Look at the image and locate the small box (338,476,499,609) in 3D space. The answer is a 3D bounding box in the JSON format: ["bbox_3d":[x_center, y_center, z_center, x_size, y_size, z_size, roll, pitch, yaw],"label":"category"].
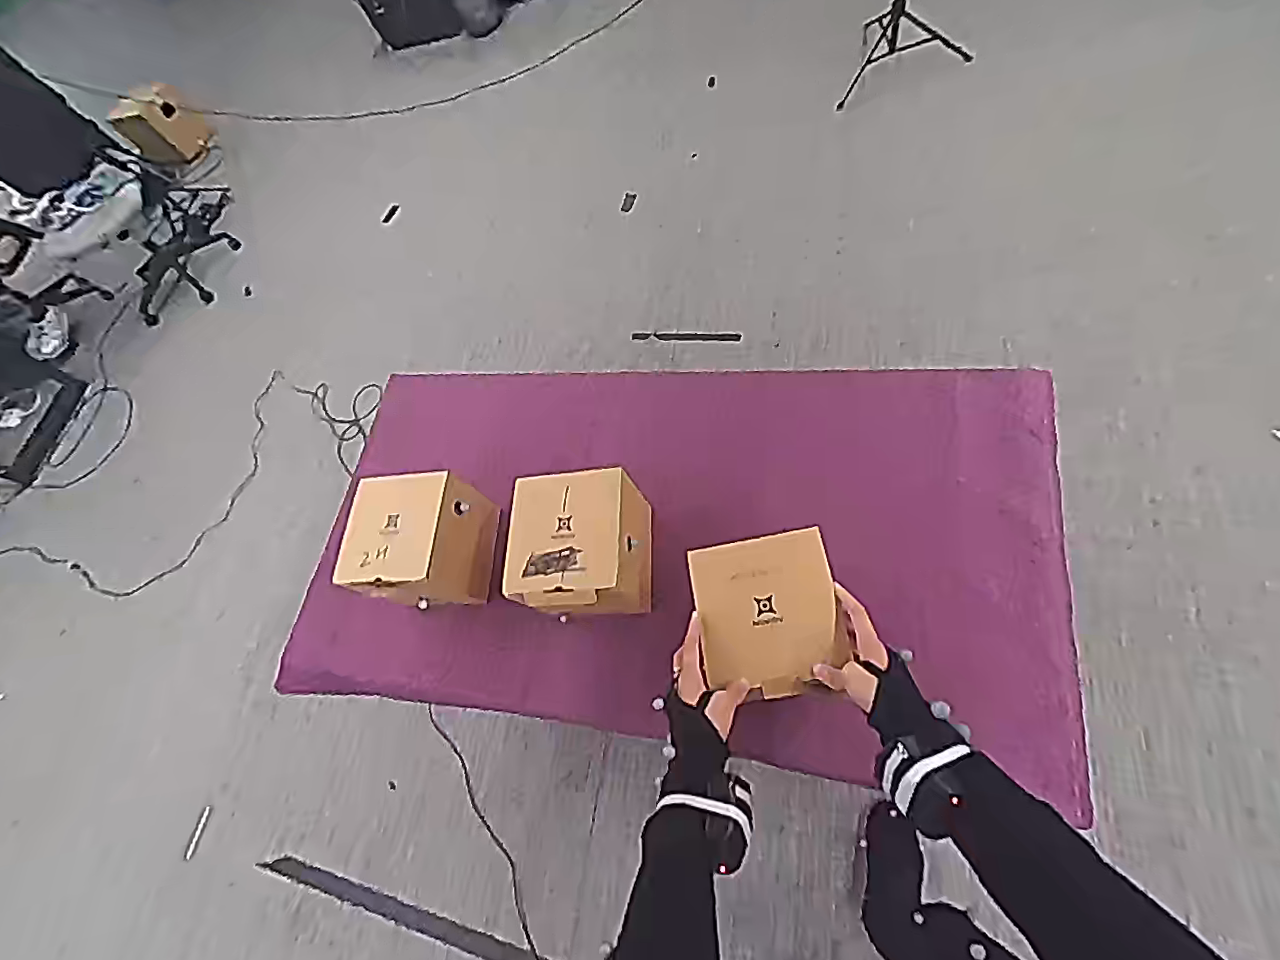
[{"bbox_3d":[-0.353,0.110,0.897,0.168,0.176,0.179,-5,66,15],"label":"small box"}]

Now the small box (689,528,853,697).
[{"bbox_3d":[0.169,0.183,0.706,0.168,0.176,0.179,-12,63,11],"label":"small box"}]

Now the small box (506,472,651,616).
[{"bbox_3d":[-0.081,0.106,0.816,0.168,0.176,0.179,-6,64,14],"label":"small box"}]
